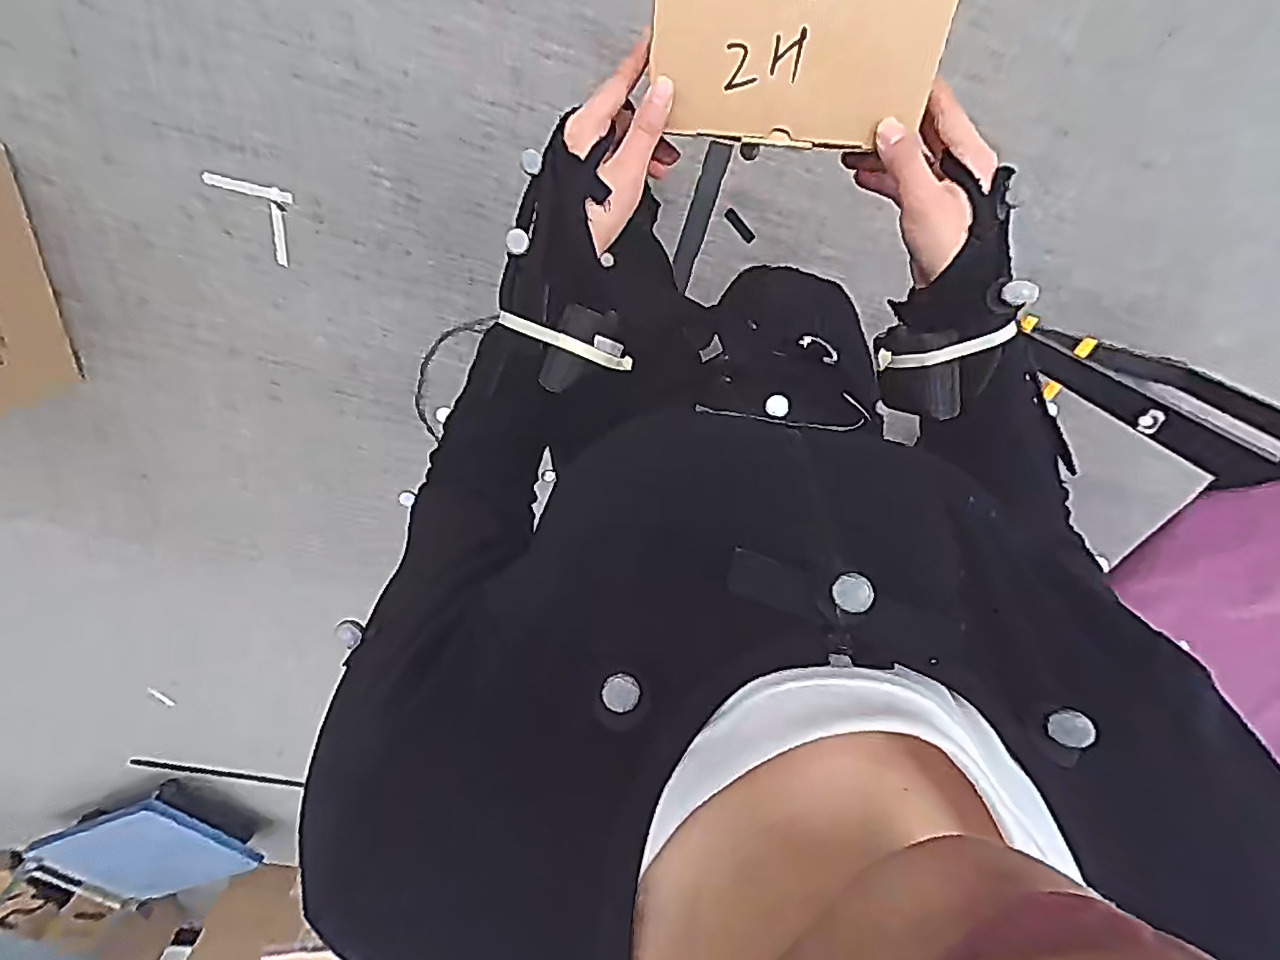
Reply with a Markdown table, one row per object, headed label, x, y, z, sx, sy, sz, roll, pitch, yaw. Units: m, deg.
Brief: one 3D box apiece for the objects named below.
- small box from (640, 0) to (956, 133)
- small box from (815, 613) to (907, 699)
| label | x | y | z | sx | sy | sz | roll | pitch | yaw |
| --- | --- | --- | --- | --- | --- | --- | --- | --- | --- |
| small box | 0.090 | -0.328 | 0.333 | 0.168 | 0.176 | 0.179 | 5 | 125 | -1 |
| small box | 0.653 | 0.526 | 1.628 | 0.179 | 0.176 | 0.168 | 13 | 122 | -10 |
